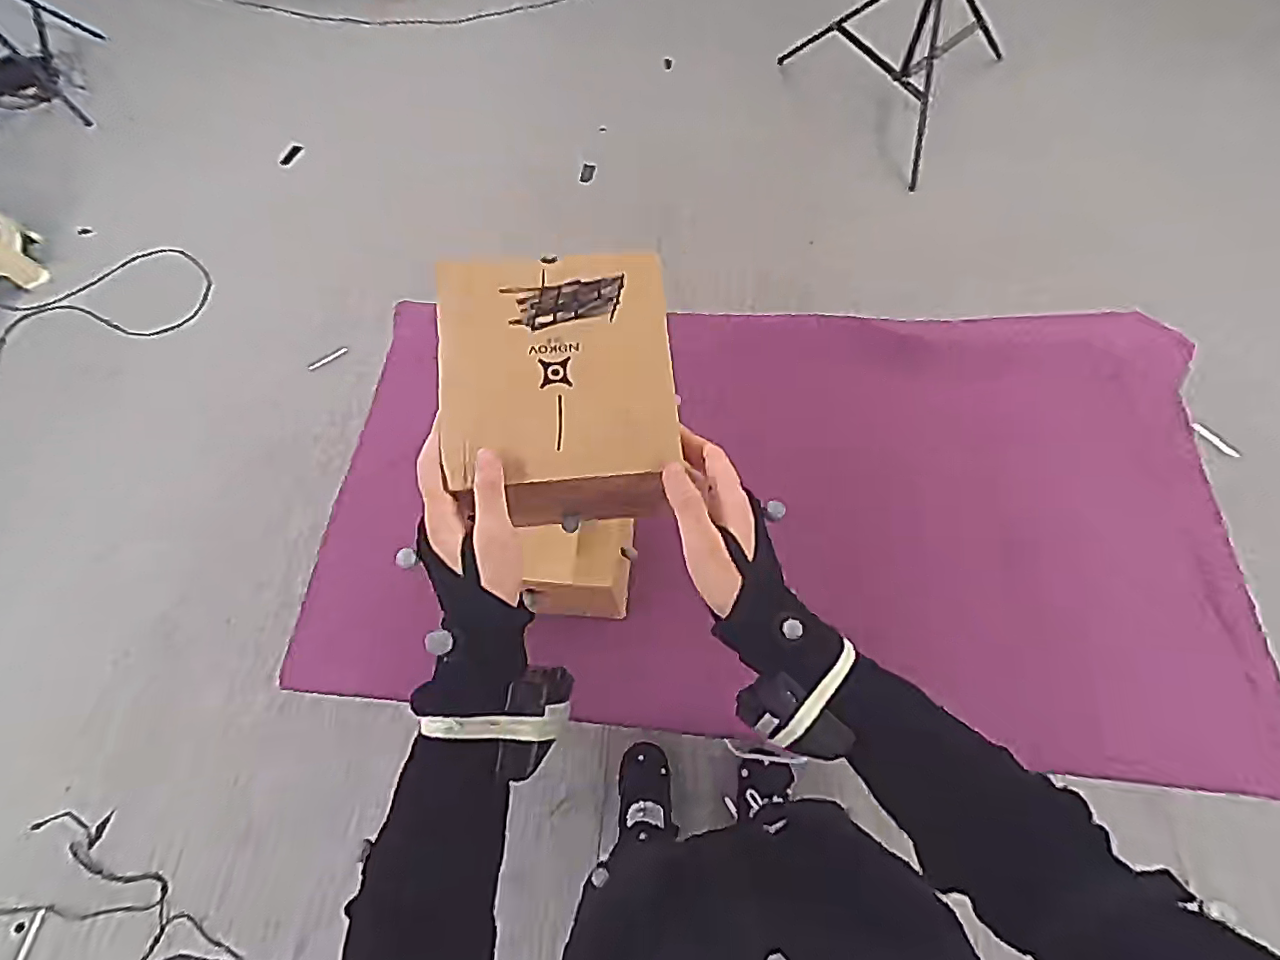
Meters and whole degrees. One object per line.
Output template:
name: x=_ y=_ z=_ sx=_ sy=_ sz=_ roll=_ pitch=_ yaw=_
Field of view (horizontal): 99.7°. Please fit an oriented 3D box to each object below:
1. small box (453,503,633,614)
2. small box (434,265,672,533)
small box: x=-0.103 y=0.067 z=0.675 sx=0.179 sy=0.176 sz=0.168 roll=3 pitch=66 yaw=6
small box: x=-0.069 y=-0.058 z=0.469 sx=0.168 sy=0.176 sz=0.179 roll=-5 pitch=76 yaw=-4
